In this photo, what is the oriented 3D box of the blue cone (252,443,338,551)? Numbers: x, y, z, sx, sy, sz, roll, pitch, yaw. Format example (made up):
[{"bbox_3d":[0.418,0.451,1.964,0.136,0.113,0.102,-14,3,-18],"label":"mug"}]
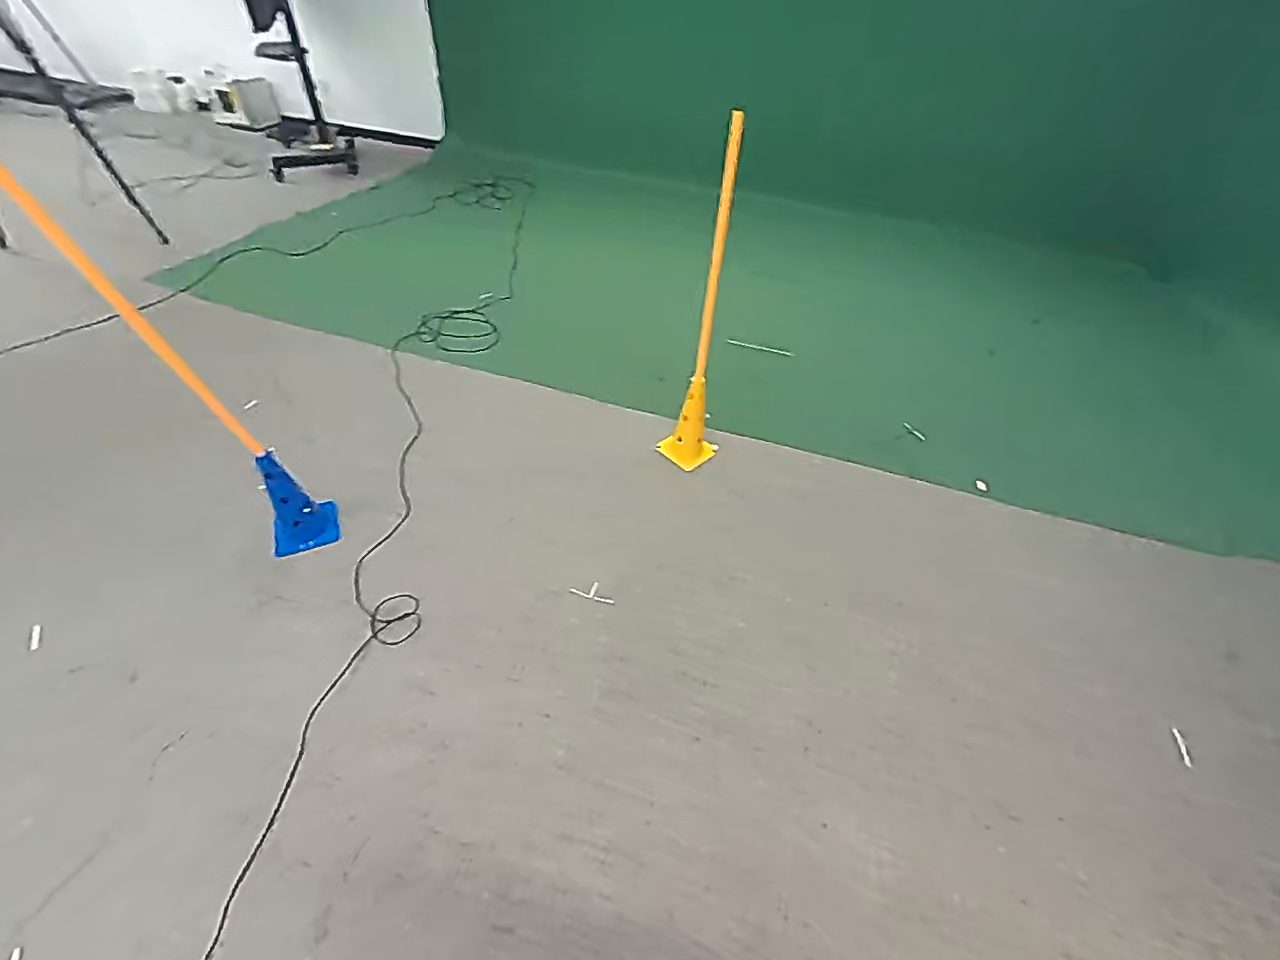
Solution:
[{"bbox_3d":[-1.128,0.038,1.719,0.193,0.380,0.192,-19,50,-20],"label":"blue cone"}]
